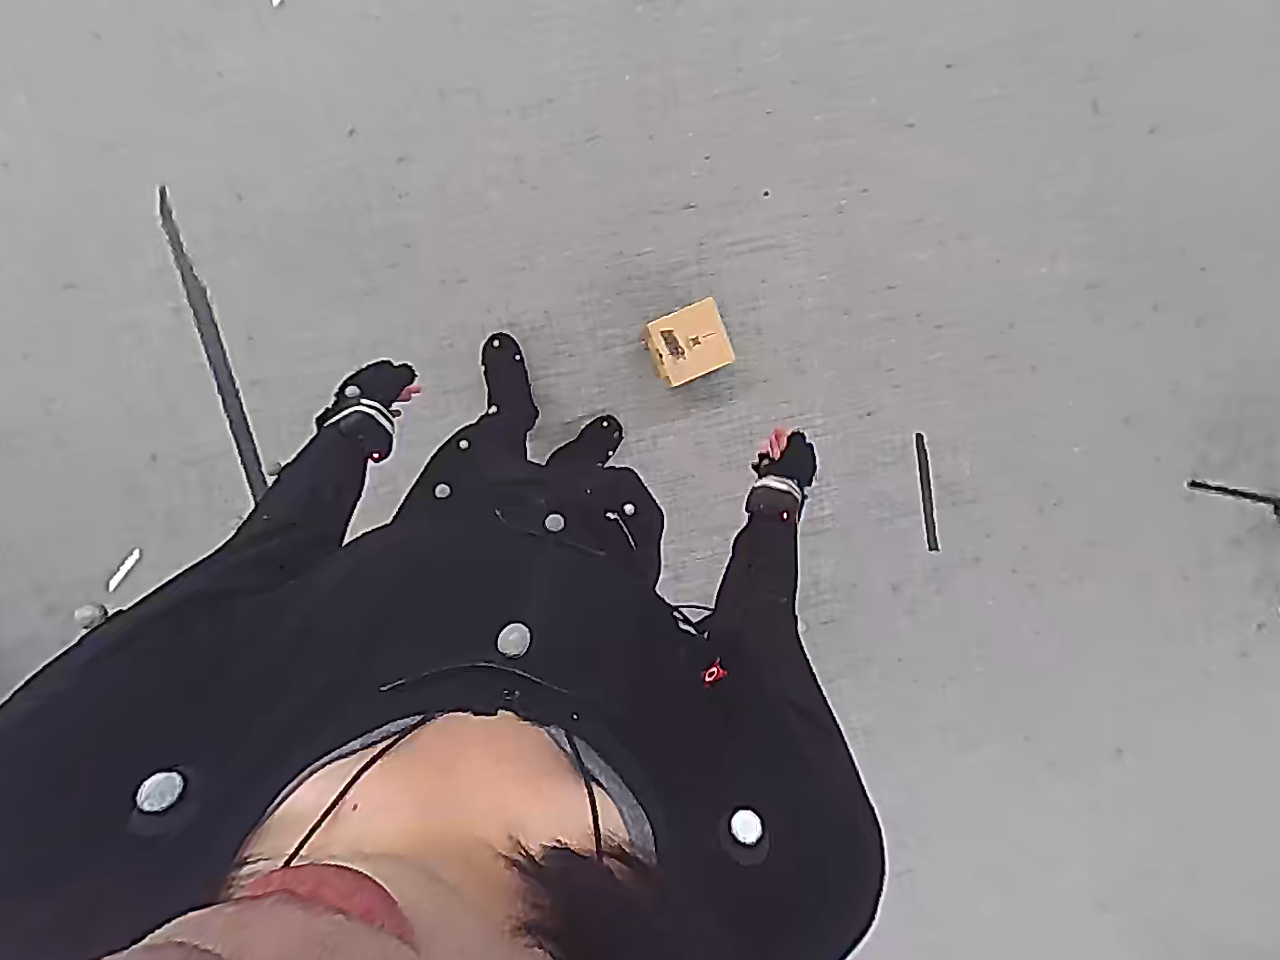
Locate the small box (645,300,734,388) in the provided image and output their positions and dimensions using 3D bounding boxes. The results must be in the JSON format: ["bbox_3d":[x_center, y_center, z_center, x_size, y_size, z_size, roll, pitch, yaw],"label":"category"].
[{"bbox_3d":[0.118,-0.341,1.388,0.179,0.176,0.168,-23,101,-1],"label":"small box"}]
